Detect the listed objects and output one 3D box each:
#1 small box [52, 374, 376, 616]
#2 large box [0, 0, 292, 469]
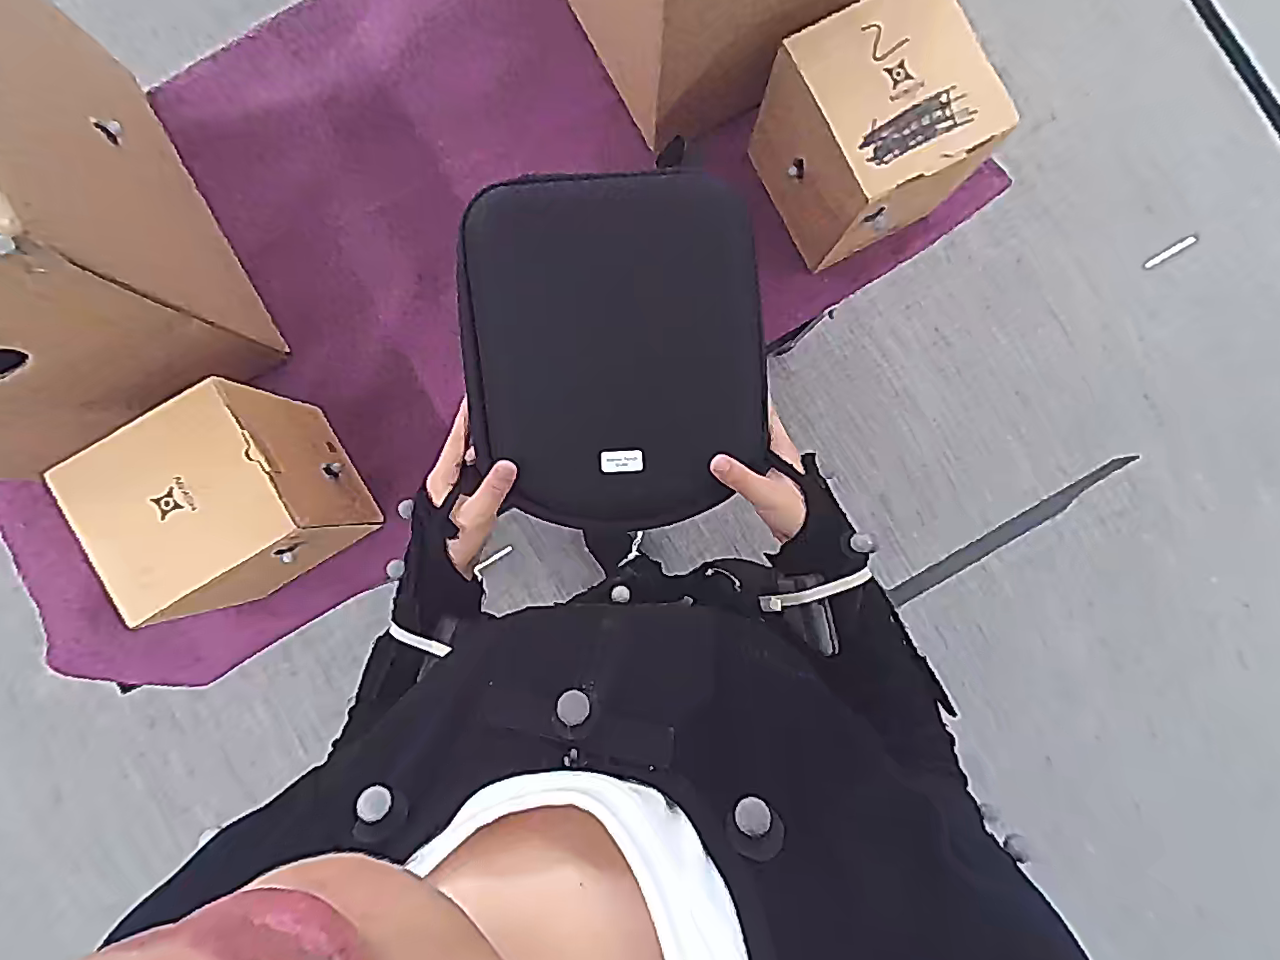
[{"bbox_3d":[-0.428,0.018,0.576,0.179,0.176,0.168,-32,88,-2],"label":"small box"},{"bbox_3d":[-0.645,-0.257,0.509,0.320,0.320,0.408,-31,92,-3],"label":"large box"}]
